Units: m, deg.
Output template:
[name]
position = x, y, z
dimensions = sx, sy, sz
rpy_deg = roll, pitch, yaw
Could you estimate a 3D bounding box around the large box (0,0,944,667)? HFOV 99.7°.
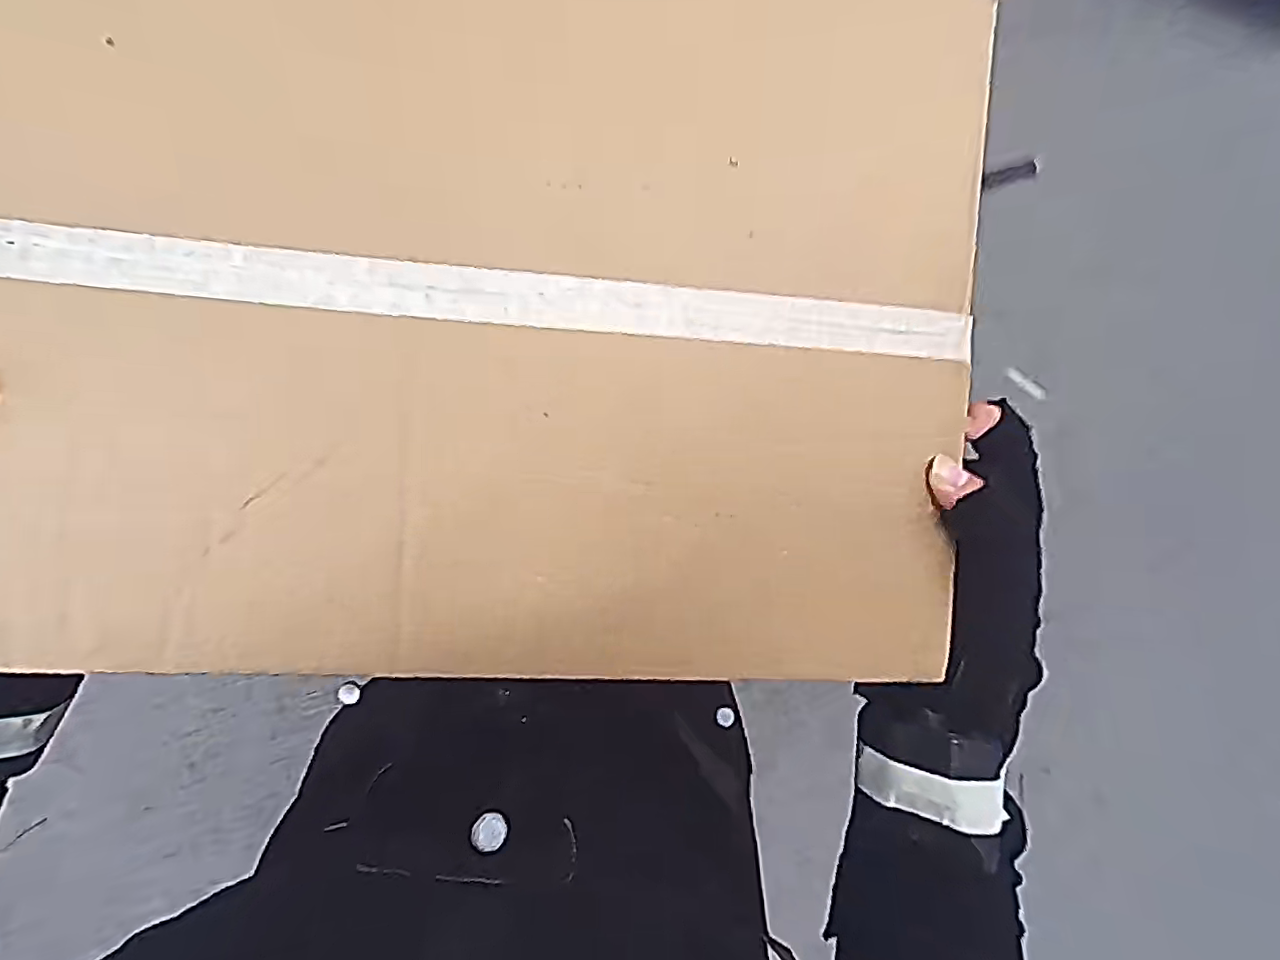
[large box]
position = -0.076, -0.079, 0.381
dimensions = 0.408, 0.320, 0.320
rpy_deg = 3, 91, -8
